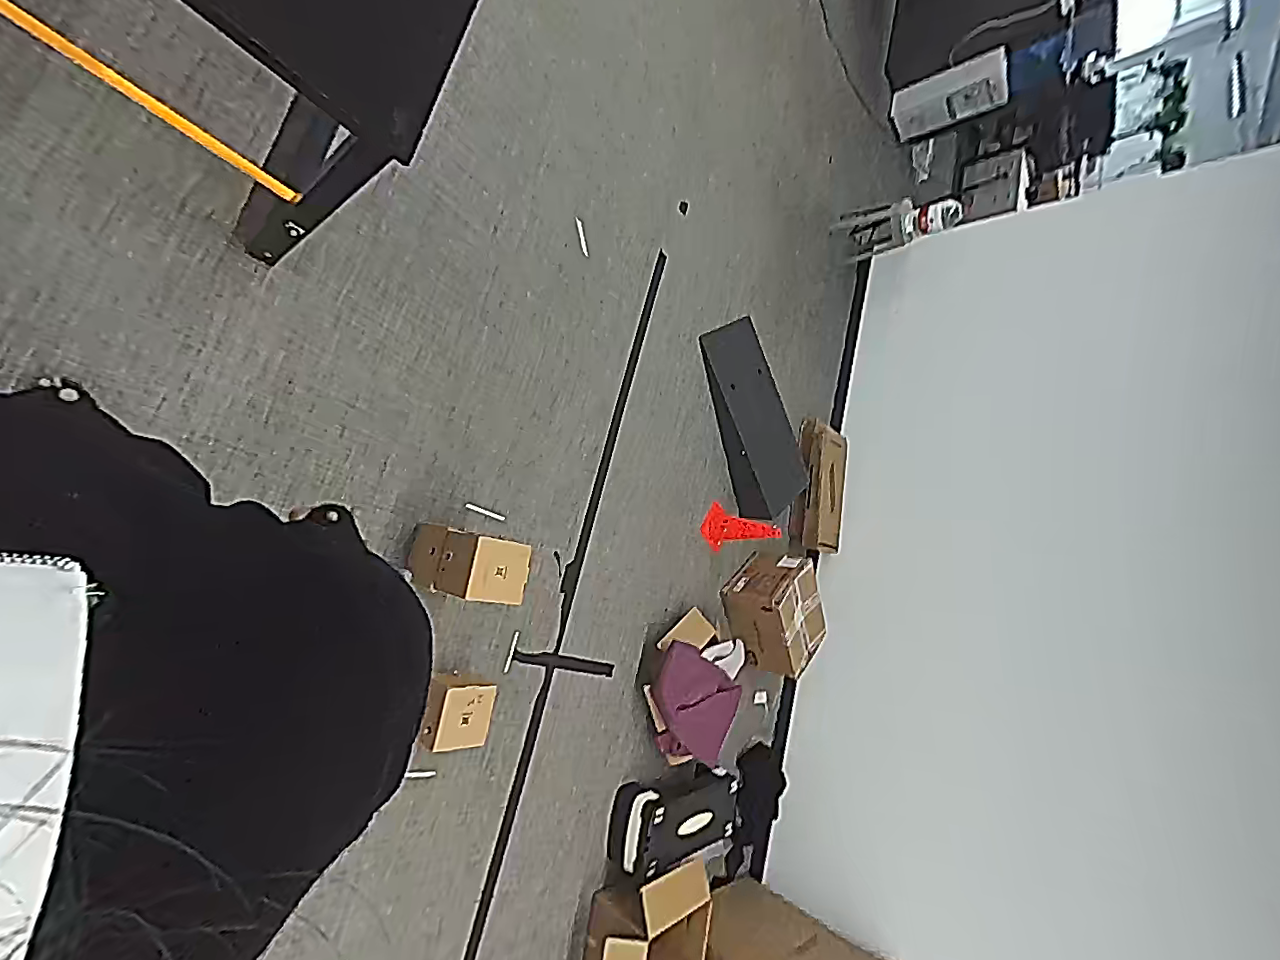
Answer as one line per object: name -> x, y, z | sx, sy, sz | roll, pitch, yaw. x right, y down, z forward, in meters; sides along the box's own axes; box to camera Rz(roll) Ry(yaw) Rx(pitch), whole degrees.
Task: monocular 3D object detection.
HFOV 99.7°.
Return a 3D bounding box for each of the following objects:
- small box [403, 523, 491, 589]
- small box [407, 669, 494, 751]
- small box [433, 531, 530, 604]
small box -> -0.559, 0.227, 1.569 | 0.168, 0.176, 0.179 | 24, 74, -46
small box -> -0.561, 0.669, 1.590 | 0.168, 0.176, 0.179 | 20, 77, -47
small box -> -0.431, 0.235, 1.468 | 0.179, 0.176, 0.168 | 19, 76, -45
